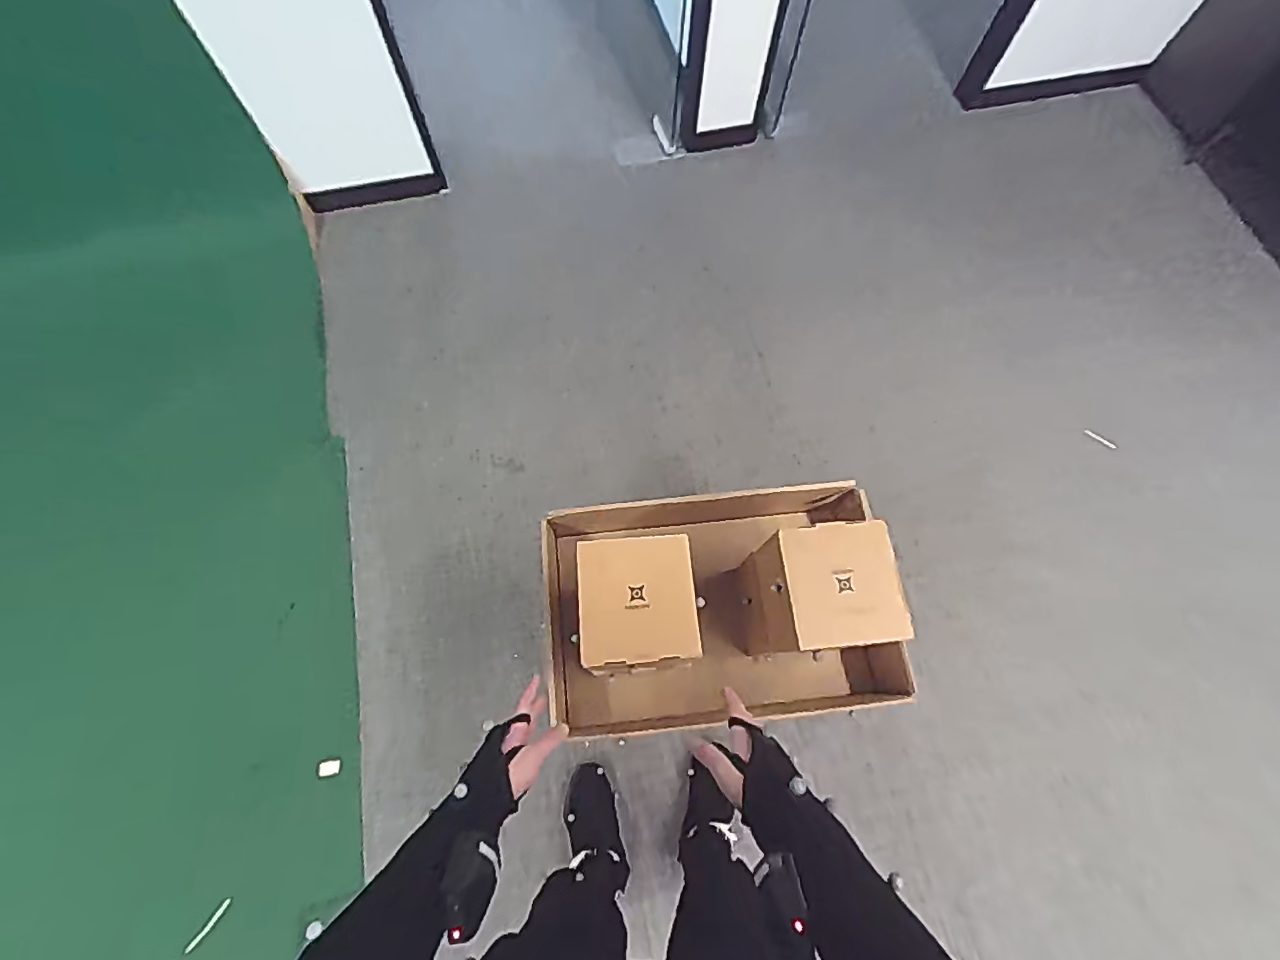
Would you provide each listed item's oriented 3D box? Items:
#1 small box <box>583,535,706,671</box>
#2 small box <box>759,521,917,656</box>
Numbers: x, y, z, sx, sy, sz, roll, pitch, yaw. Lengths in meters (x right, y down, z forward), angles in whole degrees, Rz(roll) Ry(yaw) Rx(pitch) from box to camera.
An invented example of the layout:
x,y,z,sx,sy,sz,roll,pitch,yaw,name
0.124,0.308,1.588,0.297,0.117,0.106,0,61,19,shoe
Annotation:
x,y,z,sx,sy,sz,roll,pitch,yaw,name
0.000,0.195,0.833,0.168,0.176,0.179,-4,69,-3,small box
0.293,0.174,0.845,0.168,0.176,0.179,-5,70,-2,small box
